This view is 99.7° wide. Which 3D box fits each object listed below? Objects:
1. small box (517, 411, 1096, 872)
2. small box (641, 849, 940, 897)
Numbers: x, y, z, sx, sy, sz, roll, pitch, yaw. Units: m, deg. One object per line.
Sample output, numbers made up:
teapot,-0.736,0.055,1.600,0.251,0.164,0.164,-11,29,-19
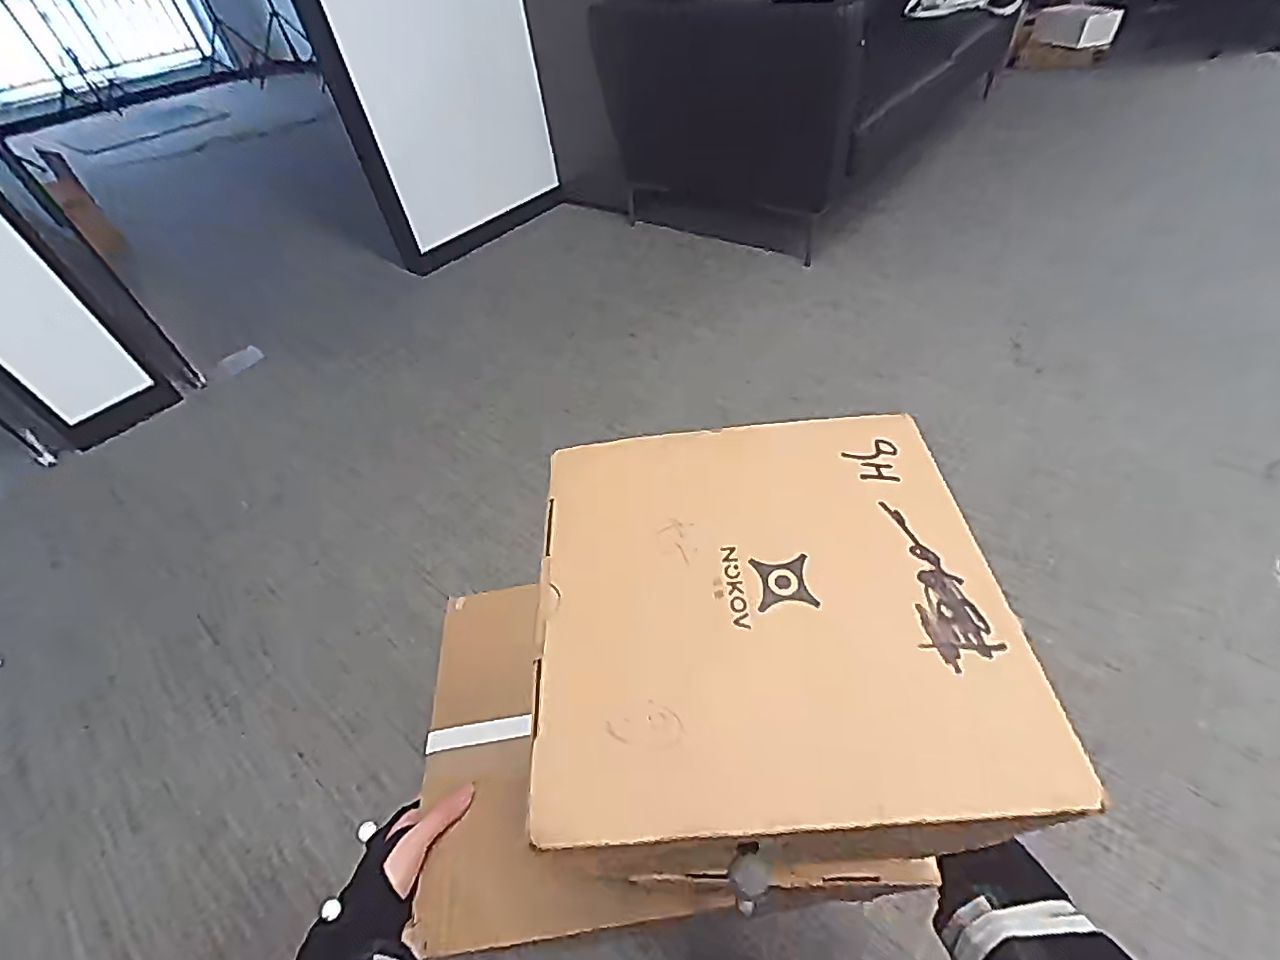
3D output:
small box,0.054,0.089,0.272,0.179,0.176,0.168,-6,52,3
small box,0.083,0.192,0.398,0.168,0.176,0.179,-2,52,5
